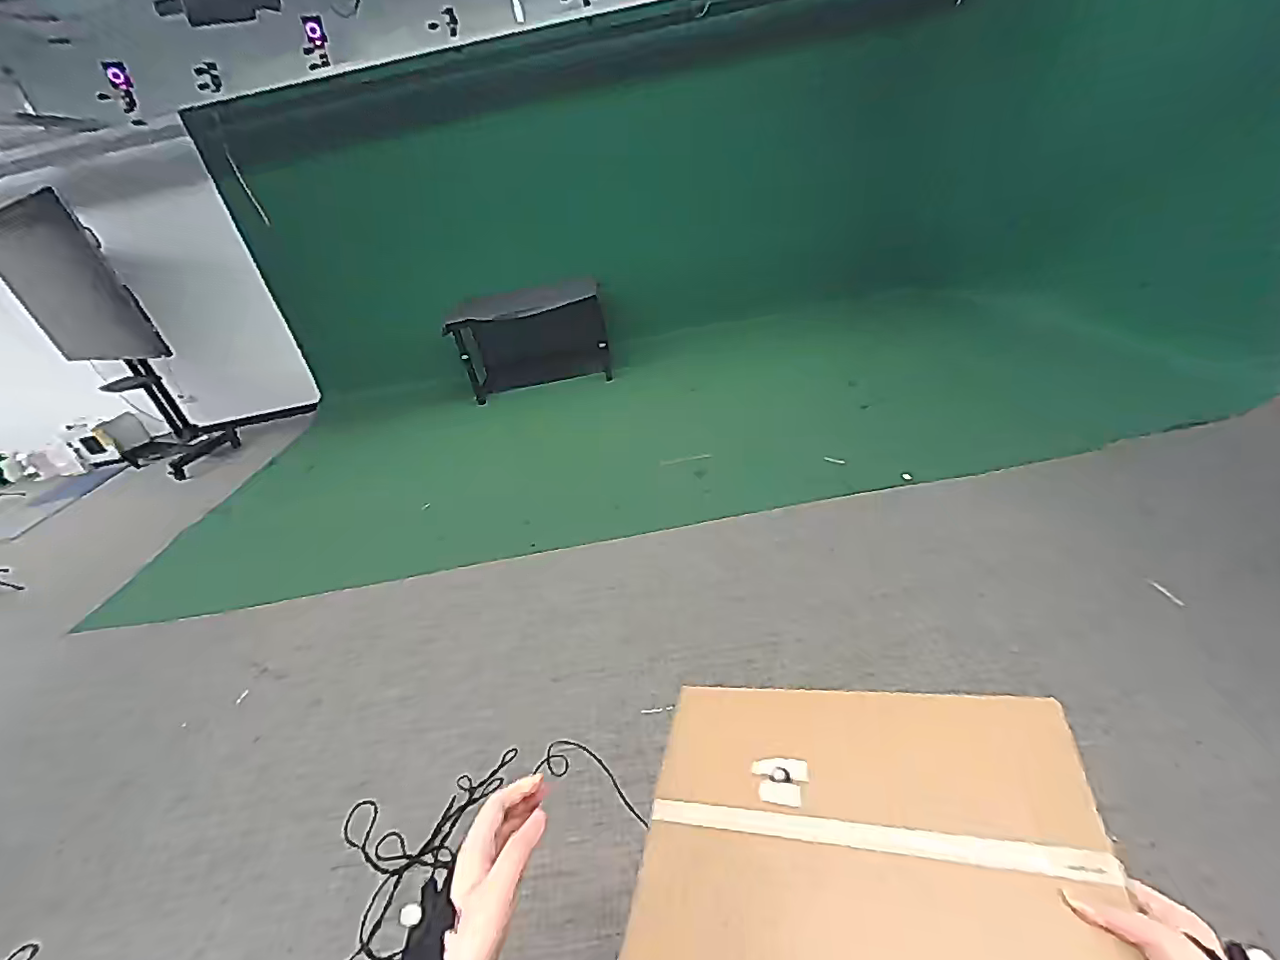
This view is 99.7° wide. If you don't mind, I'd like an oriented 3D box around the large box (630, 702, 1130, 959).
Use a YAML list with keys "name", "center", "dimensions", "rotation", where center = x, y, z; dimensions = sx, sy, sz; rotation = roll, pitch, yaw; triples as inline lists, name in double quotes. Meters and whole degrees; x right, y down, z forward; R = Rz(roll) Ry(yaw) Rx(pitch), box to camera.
- name: "large box"
  center: [0.257, 0.471, 0.590]
  dimensions: [0.408, 0.320, 0.320]
  rotation: [-10, 32, 27]
